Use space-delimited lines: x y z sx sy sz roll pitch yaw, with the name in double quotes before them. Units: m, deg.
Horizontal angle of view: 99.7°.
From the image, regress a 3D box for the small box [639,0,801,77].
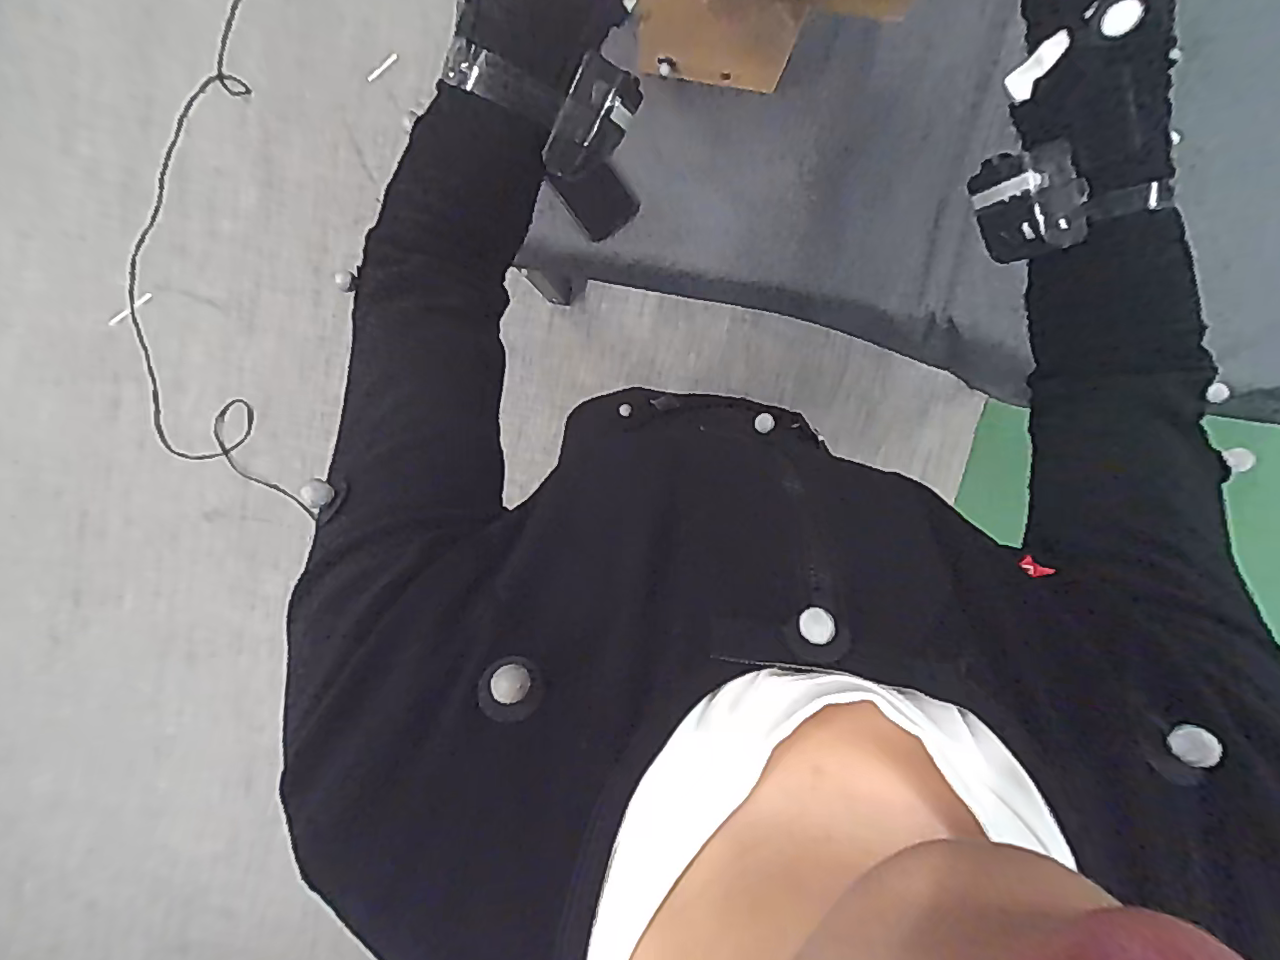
"small box" 0.091 -0.561 0.556 0.168 0.176 0.179 8 99 -2
